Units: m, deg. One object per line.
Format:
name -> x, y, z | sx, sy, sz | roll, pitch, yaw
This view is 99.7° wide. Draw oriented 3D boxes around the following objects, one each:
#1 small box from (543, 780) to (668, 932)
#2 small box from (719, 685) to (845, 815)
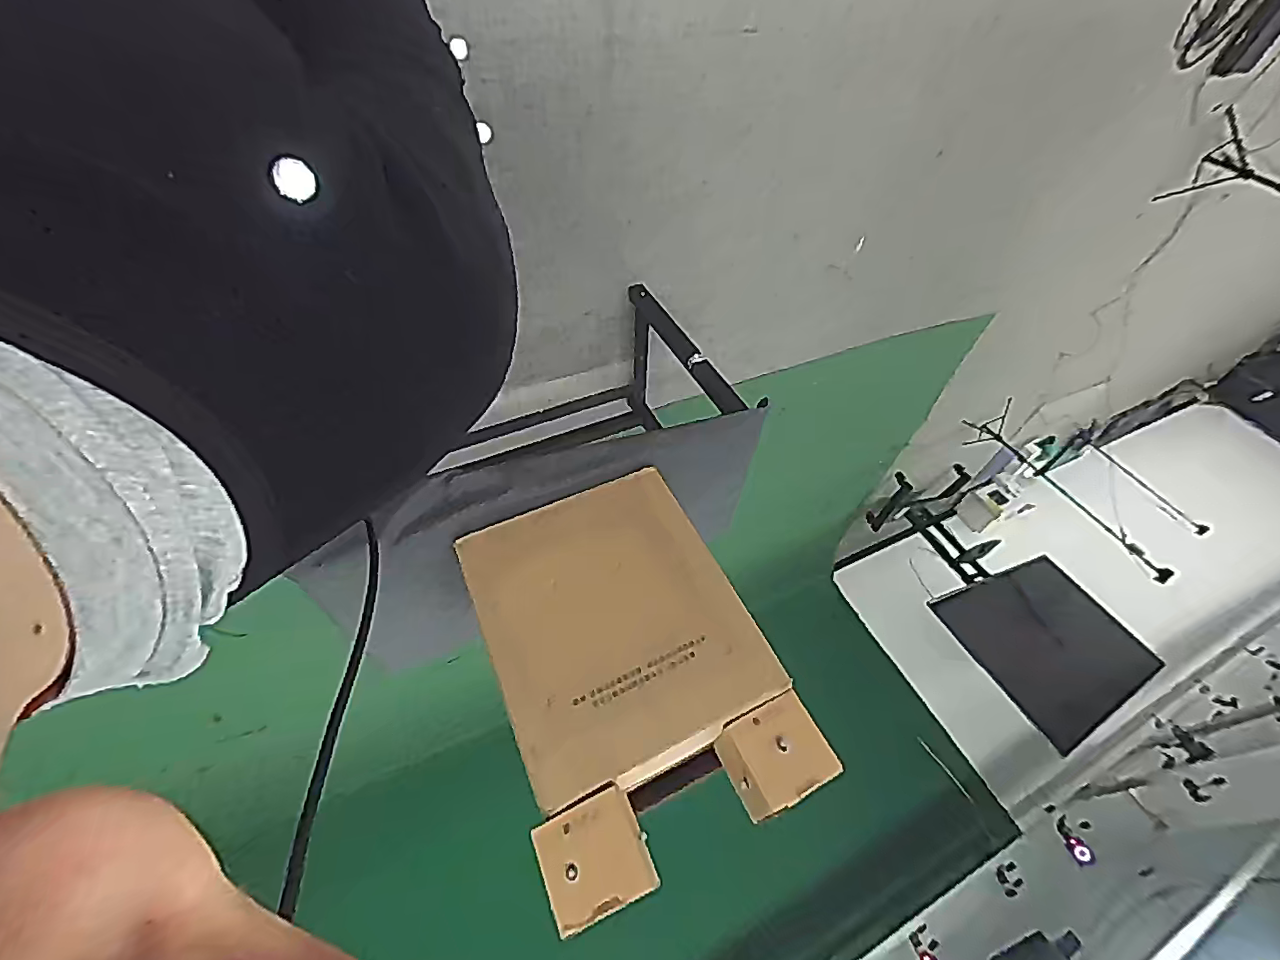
small box -> -0.062, 0.676, 0.990 | 0.168, 0.176, 0.179 | -24, 148, -9
small box -> 0.281, 0.550, 1.113 | 0.168, 0.176, 0.179 | -22, 146, -18
